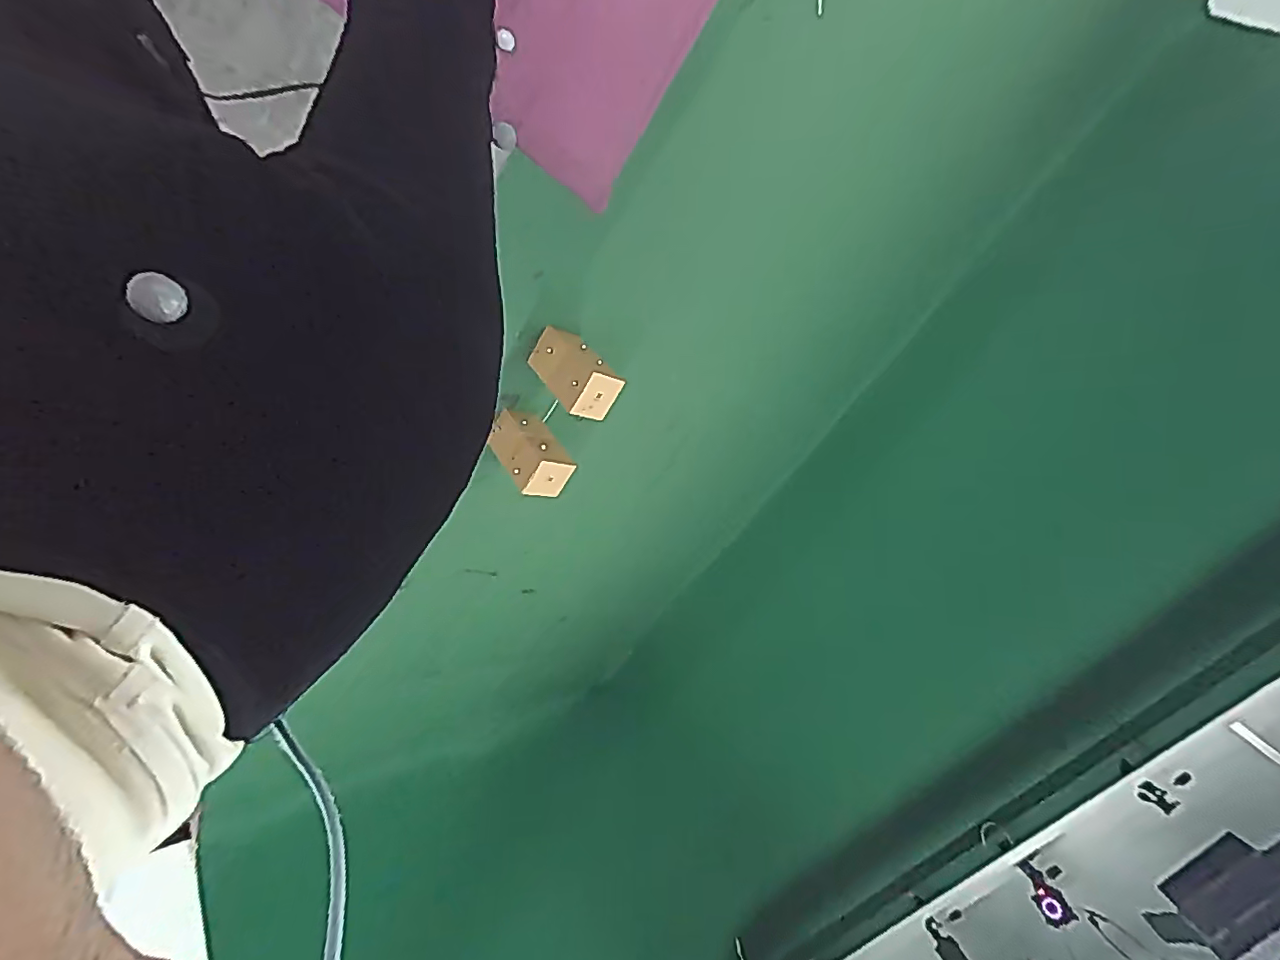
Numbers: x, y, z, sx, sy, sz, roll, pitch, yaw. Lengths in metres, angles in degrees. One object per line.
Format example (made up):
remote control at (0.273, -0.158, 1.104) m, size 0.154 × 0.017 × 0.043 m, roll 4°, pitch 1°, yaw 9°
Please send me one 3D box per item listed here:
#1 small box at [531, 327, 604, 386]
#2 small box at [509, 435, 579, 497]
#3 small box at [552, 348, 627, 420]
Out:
small box at (-0.276, -0.447, 2.022) m, size 0.179 × 0.176 × 0.168 m, roll 6°, pitch 125°, yaw -51°
small box at (-0.375, -0.056, 2.085) m, size 0.179 × 0.176 × 0.168 m, roll 8°, pitch 125°, yaw -50°
small box at (-0.186, -0.344, 1.932) m, size 0.168 × 0.176 × 0.179 m, roll 7°, pitch 125°, yaw -51°
